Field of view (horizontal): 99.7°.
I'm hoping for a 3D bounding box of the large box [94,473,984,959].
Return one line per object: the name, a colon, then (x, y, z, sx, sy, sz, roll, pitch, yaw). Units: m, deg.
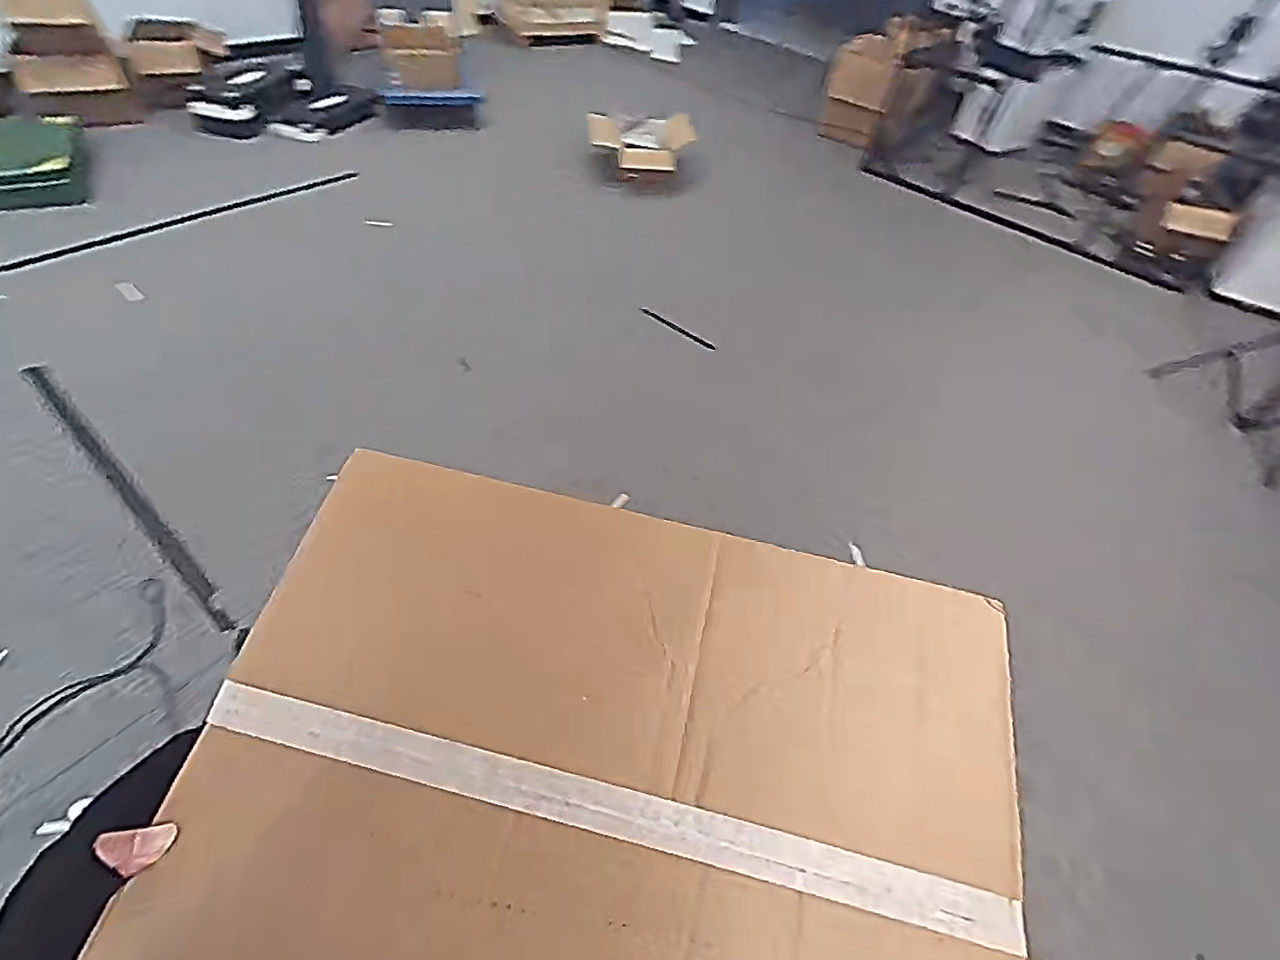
large box: (-0.035, 0.230, 0.408, 0.408, 0.320, 0.320, 12, 65, 4)
